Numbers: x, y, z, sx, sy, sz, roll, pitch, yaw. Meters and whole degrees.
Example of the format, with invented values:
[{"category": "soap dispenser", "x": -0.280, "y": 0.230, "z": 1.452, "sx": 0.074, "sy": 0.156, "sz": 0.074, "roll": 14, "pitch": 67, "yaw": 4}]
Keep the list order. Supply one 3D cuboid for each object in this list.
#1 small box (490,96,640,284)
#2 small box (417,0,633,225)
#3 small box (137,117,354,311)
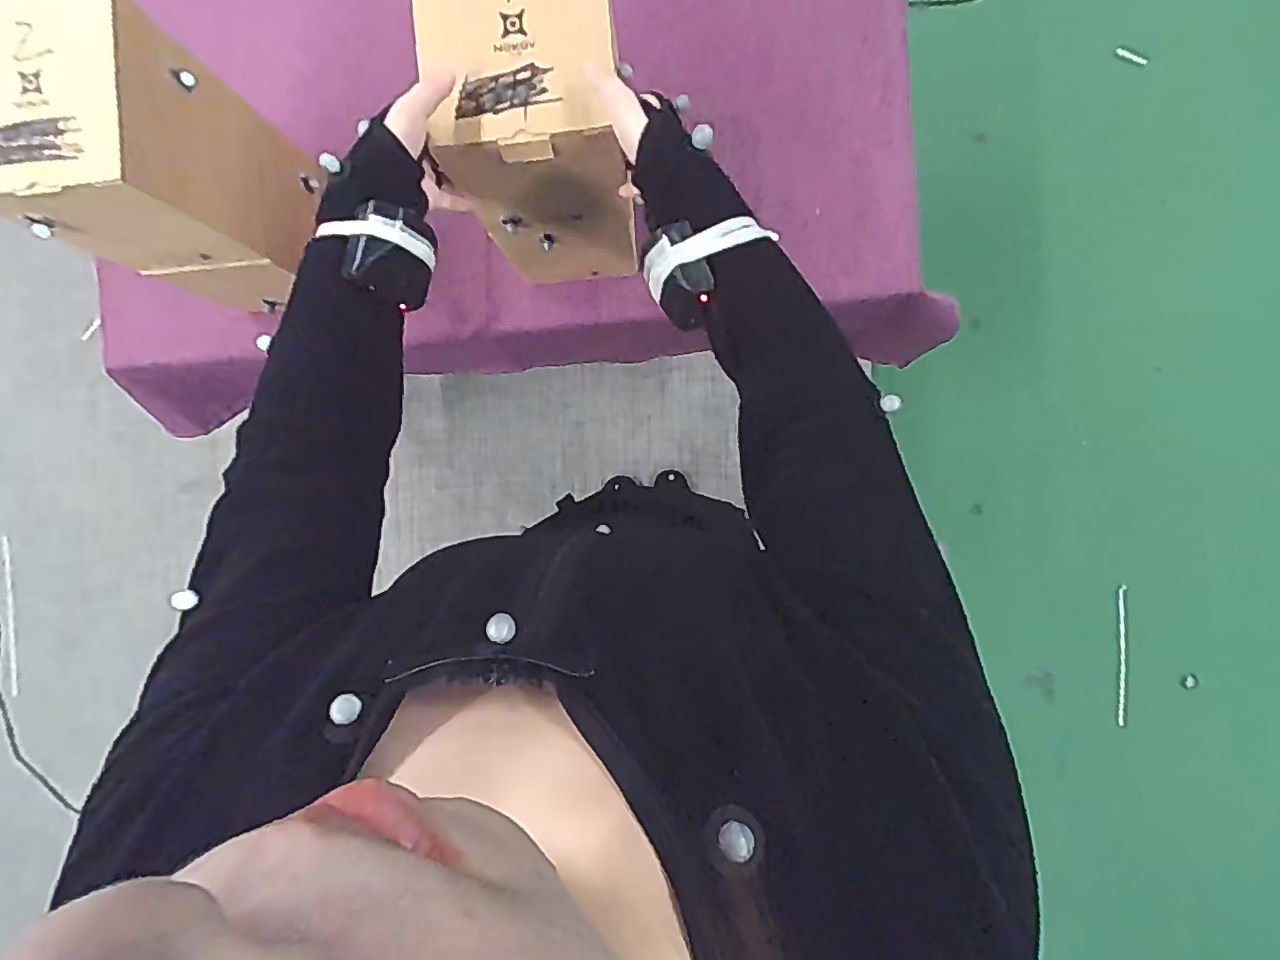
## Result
[{"category": "small box", "x": -0.091, "y": -0.374, "z": 0.697, "sx": 0.168, "sy": 0.176, "sz": 0.179, "roll": -4, "pitch": 90, "yaw": 5}, {"category": "small box", "x": -0.099, "y": -0.371, "z": 0.533, "sx": 0.168, "sy": 0.176, "sz": 0.179, "roll": -5, "pitch": 91, "yaw": 3}, {"category": "small box", "x": -0.509, "y": -0.341, "z": 0.722, "sx": 0.168, "sy": 0.176, "sz": 0.179, "roll": -3, "pitch": 92, "yaw": 4}]
